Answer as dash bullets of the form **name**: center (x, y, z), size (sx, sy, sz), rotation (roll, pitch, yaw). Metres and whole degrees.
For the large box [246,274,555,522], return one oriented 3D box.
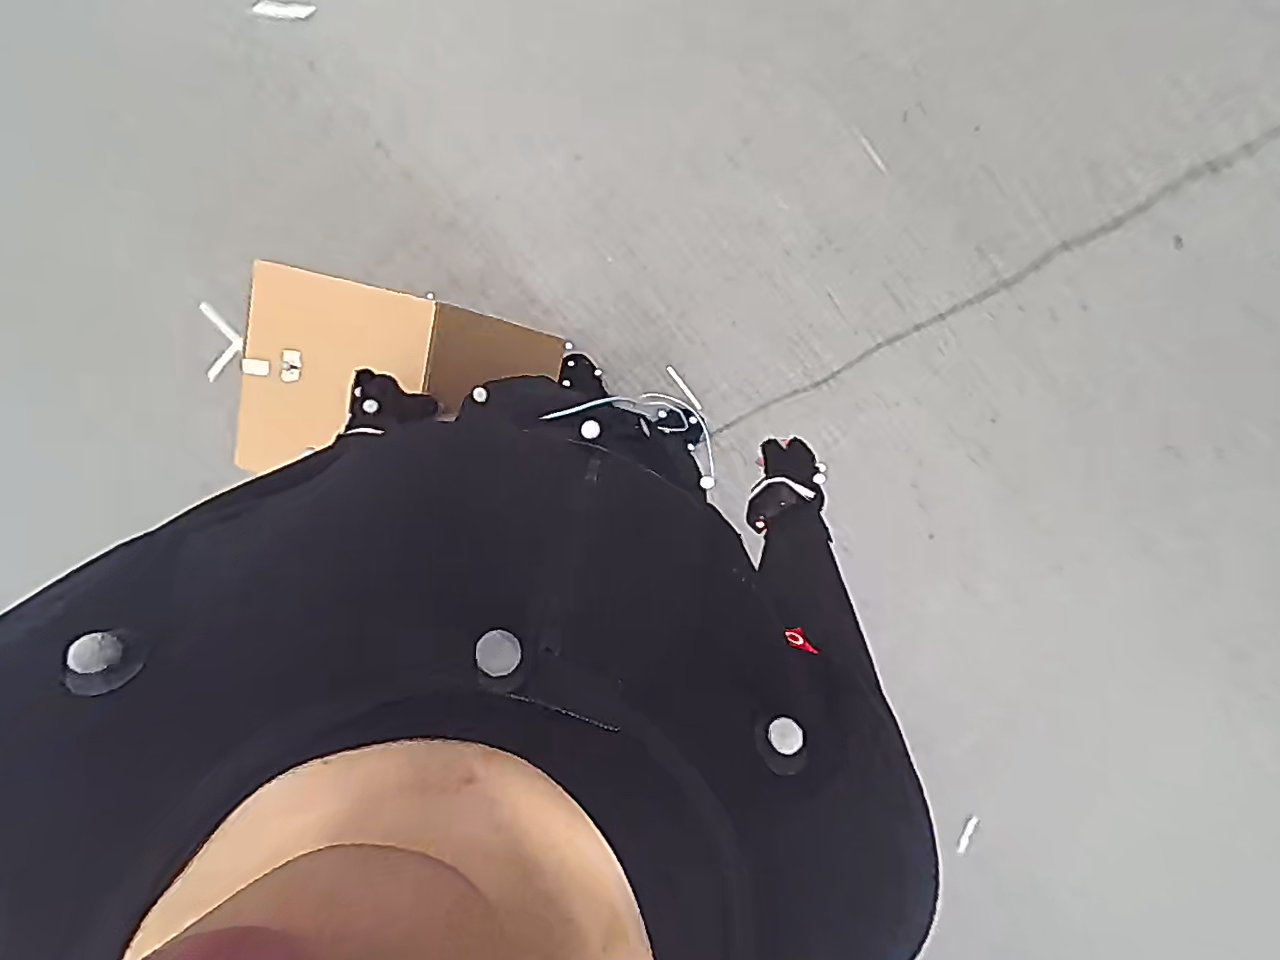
- **large box**: center (-0.397, -0.150, 0.964), size (0.320, 0.408, 0.320), rotation (17, 102, 13)
